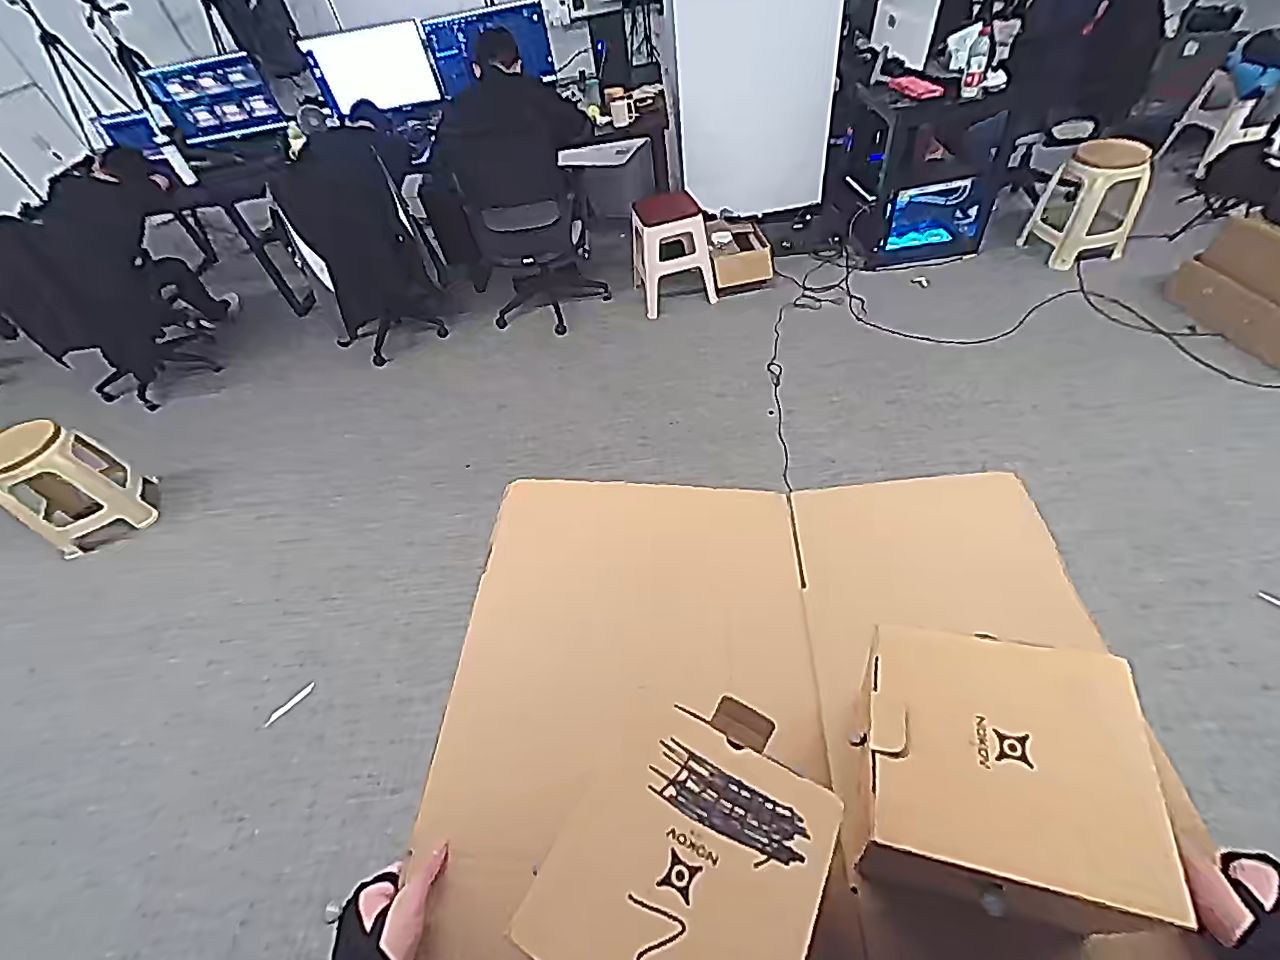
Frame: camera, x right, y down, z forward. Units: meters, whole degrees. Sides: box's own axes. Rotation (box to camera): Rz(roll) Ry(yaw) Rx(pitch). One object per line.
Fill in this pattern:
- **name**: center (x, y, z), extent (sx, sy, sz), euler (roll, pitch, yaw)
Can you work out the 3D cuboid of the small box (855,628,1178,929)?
- **small box**: center (0.284, 0.248, 0.458), extent (0.179, 0.176, 0.168), euler (3, 52, 21)
